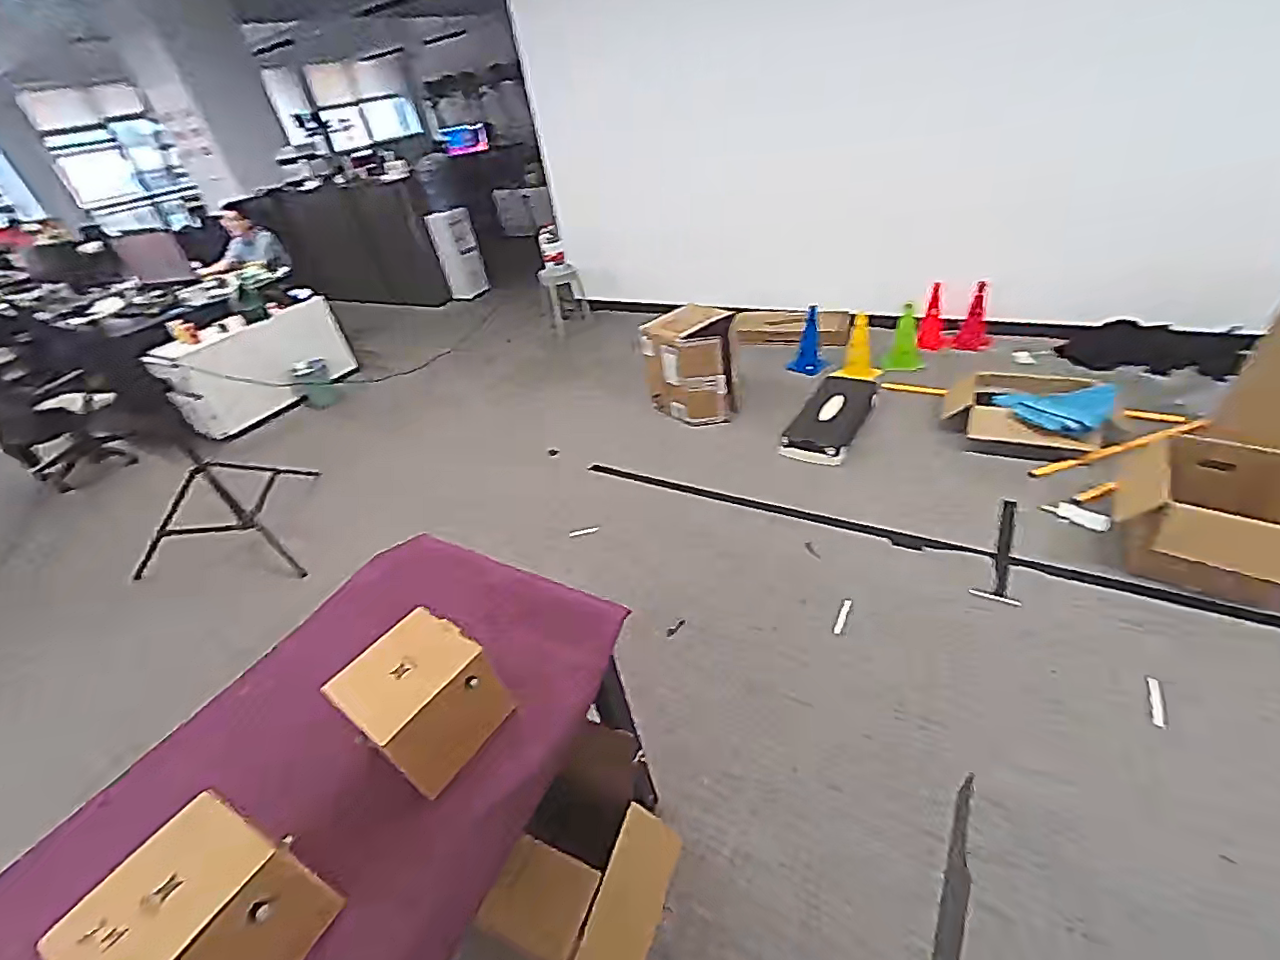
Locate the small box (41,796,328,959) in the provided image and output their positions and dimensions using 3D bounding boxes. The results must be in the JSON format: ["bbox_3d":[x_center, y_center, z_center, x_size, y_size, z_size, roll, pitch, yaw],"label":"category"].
[{"bbox_3d":[-0.504,0.522,0.629,0.168,0.176,0.179,9,41,29],"label":"small box"}]

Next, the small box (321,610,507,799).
[{"bbox_3d":[-0.335,0.342,0.830,0.168,0.176,0.179,17,44,32],"label":"small box"}]
